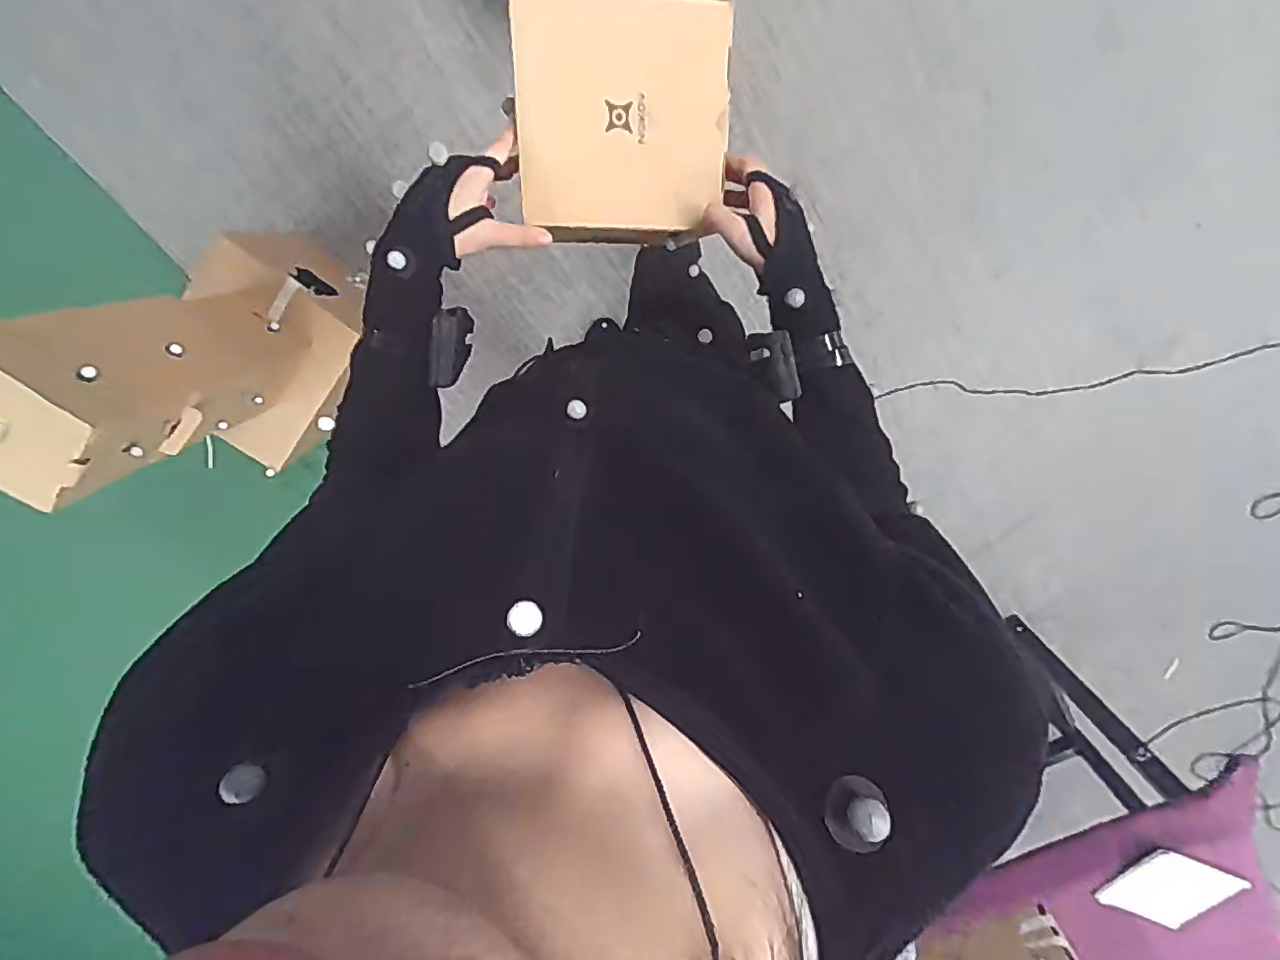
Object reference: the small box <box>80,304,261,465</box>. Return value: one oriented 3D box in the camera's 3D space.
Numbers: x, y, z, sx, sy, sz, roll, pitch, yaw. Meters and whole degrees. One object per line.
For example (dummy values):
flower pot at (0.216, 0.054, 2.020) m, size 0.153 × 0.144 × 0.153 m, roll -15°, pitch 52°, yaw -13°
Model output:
small box at (-0.771, -0.161, 0.874) m, size 0.168 × 0.176 × 0.179 m, roll -42°, pitch 109°, yaw 16°

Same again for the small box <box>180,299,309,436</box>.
small box at (-0.777, -0.219, 1.028) m, size 0.168 × 0.176 × 0.179 m, roll 41°, pitch 107°, yaw -18°

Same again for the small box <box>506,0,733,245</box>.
small box at (-0.025, -0.319, 0.510) m, size 0.179 × 0.176 × 0.168 m, roll -3°, pitch 109°, yaw -9°

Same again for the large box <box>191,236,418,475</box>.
large box at (-0.797, -0.299, 1.259) m, size 0.320 × 0.320 × 0.408 m, roll 38°, pitch 110°, yaw -15°

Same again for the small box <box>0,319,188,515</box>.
small box at (-0.773, -0.092, 0.725) m, size 0.179 × 0.176 × 0.168 m, roll 41°, pitch 107°, yaw -19°
